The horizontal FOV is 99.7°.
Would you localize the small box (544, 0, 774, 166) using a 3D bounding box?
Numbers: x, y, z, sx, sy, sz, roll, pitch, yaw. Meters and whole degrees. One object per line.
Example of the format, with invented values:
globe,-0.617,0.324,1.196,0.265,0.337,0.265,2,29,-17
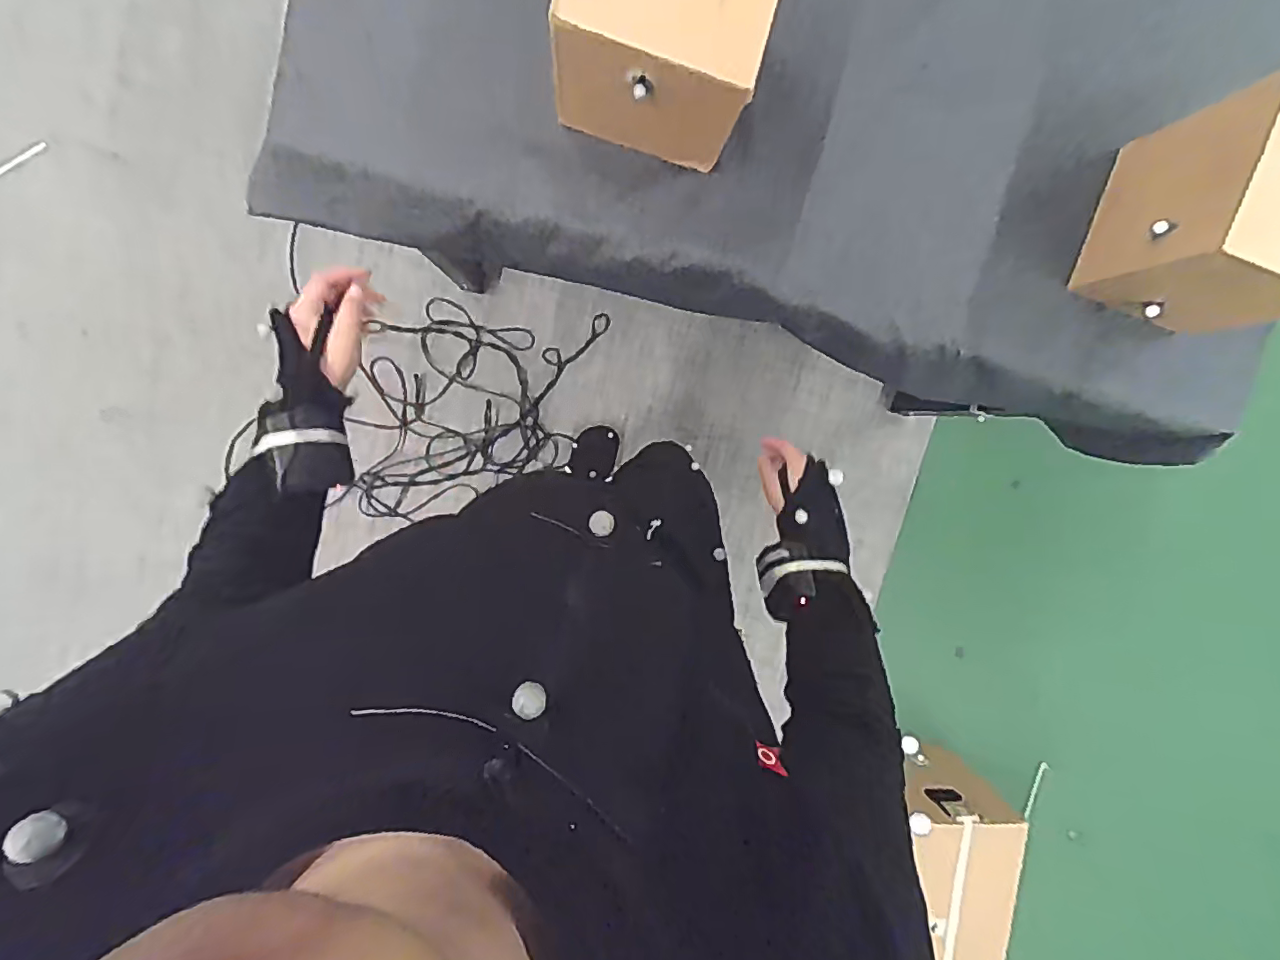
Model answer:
small box,0.020,-0.429,0.504,0.179,0.176,0.168,15,96,-8
